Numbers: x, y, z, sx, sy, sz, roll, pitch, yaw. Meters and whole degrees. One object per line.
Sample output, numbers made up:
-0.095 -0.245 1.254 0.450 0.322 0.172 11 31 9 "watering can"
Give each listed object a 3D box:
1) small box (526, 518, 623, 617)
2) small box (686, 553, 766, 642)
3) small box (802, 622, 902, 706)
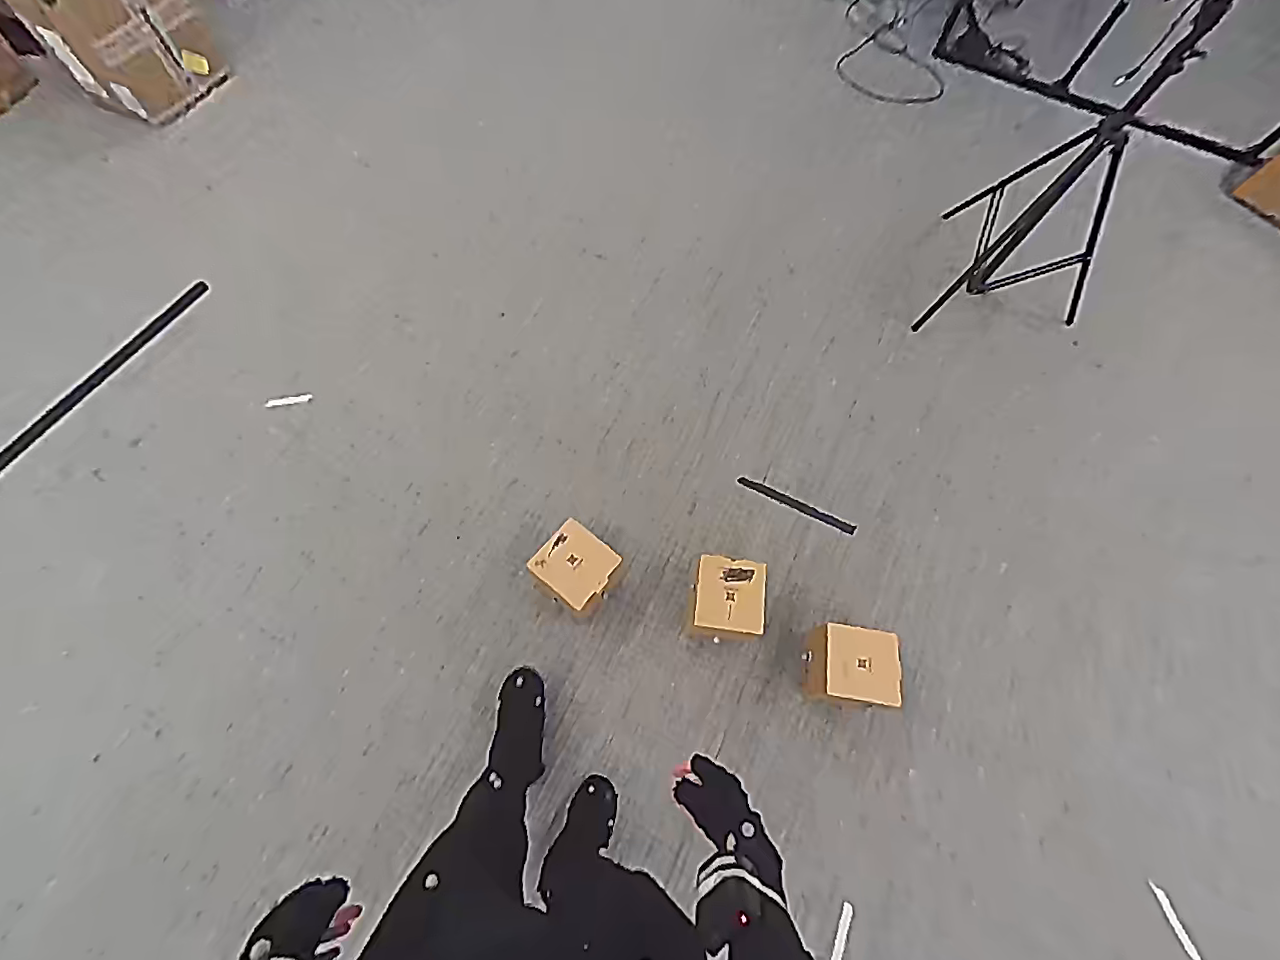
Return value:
-0.162 0.231 1.378 0.179 0.176 0.168 38 69 12 "small box"
0.213 0.301 1.369 0.168 0.176 0.179 8 67 0 "small box"
0.513 0.454 1.324 0.179 0.176 0.168 9 65 1 "small box"
